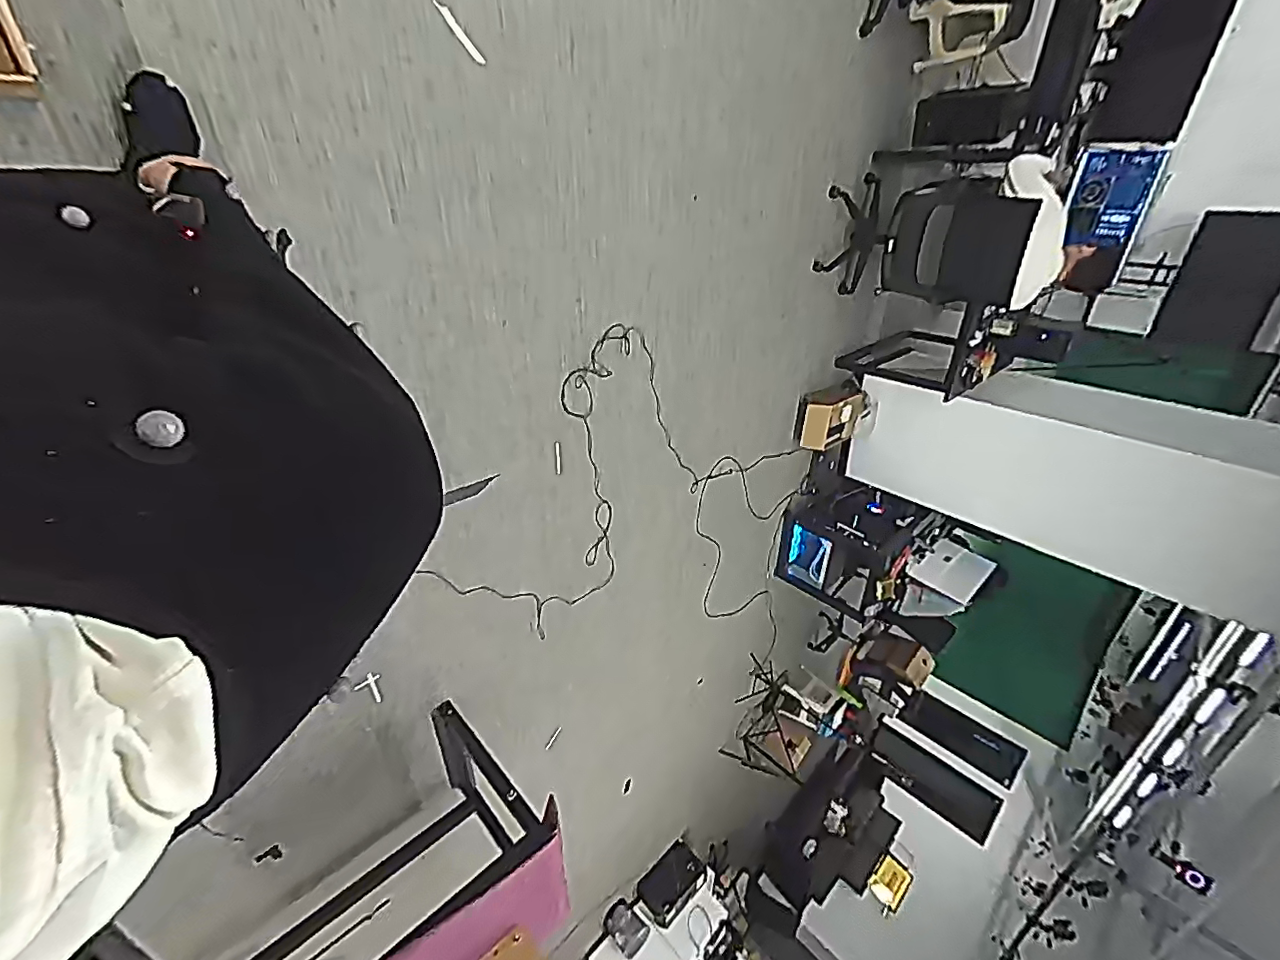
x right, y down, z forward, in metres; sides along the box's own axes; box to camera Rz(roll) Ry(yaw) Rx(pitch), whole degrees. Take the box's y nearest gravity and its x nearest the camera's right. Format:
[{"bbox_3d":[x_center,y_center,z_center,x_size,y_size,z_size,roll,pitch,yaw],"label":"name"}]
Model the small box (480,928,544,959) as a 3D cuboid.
[{"bbox_3d":[-0.415,1.617,1.755,0.168,0.176,0.179,-18,123,-41],"label":"small box"}]
